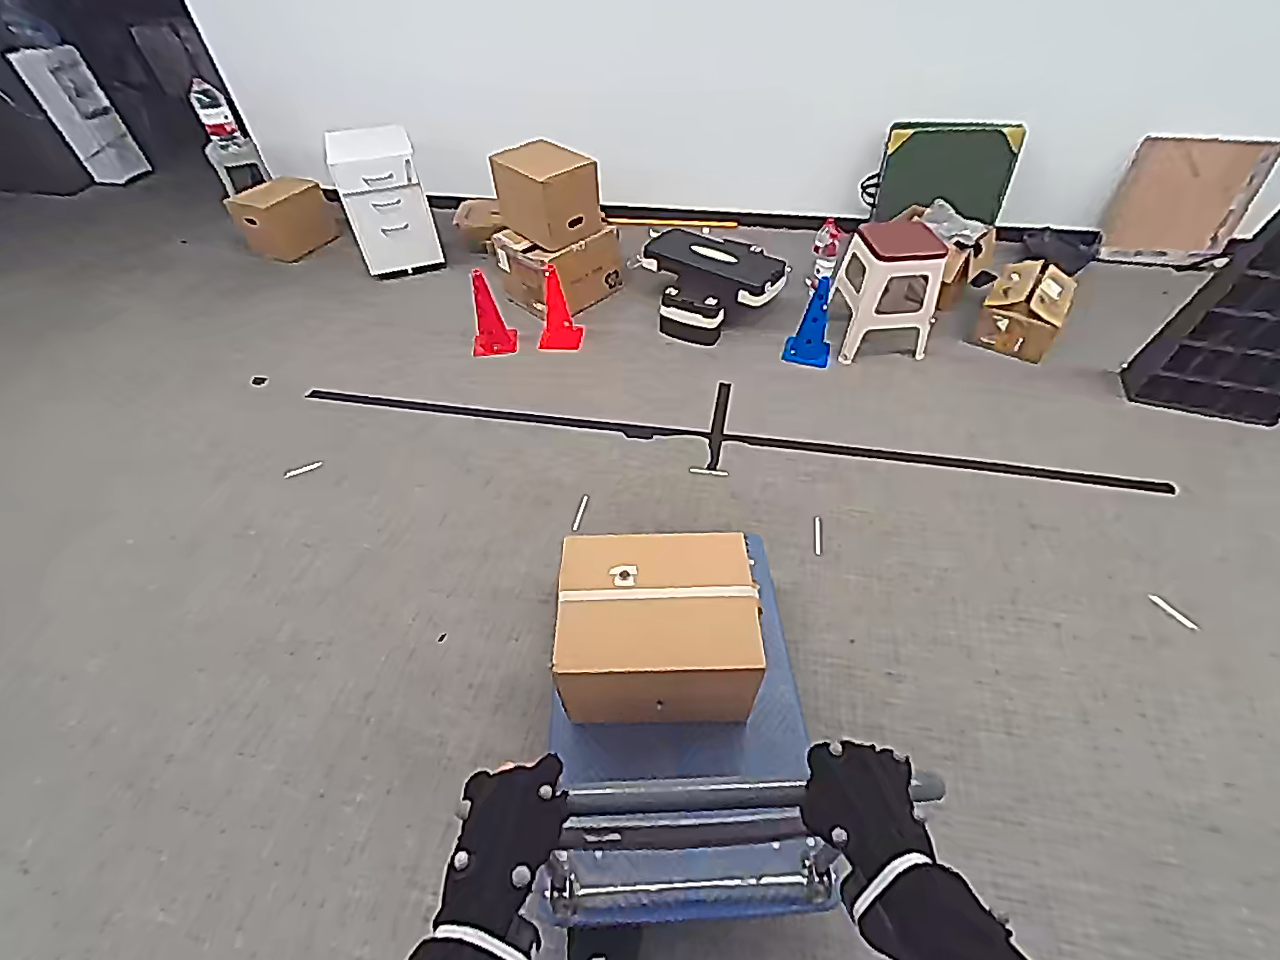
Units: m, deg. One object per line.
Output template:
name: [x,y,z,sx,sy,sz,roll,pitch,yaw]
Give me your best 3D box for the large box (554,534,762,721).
large box: [0.037,0.343,1.233,0.408,0.320,0.320,-2,49,1]
